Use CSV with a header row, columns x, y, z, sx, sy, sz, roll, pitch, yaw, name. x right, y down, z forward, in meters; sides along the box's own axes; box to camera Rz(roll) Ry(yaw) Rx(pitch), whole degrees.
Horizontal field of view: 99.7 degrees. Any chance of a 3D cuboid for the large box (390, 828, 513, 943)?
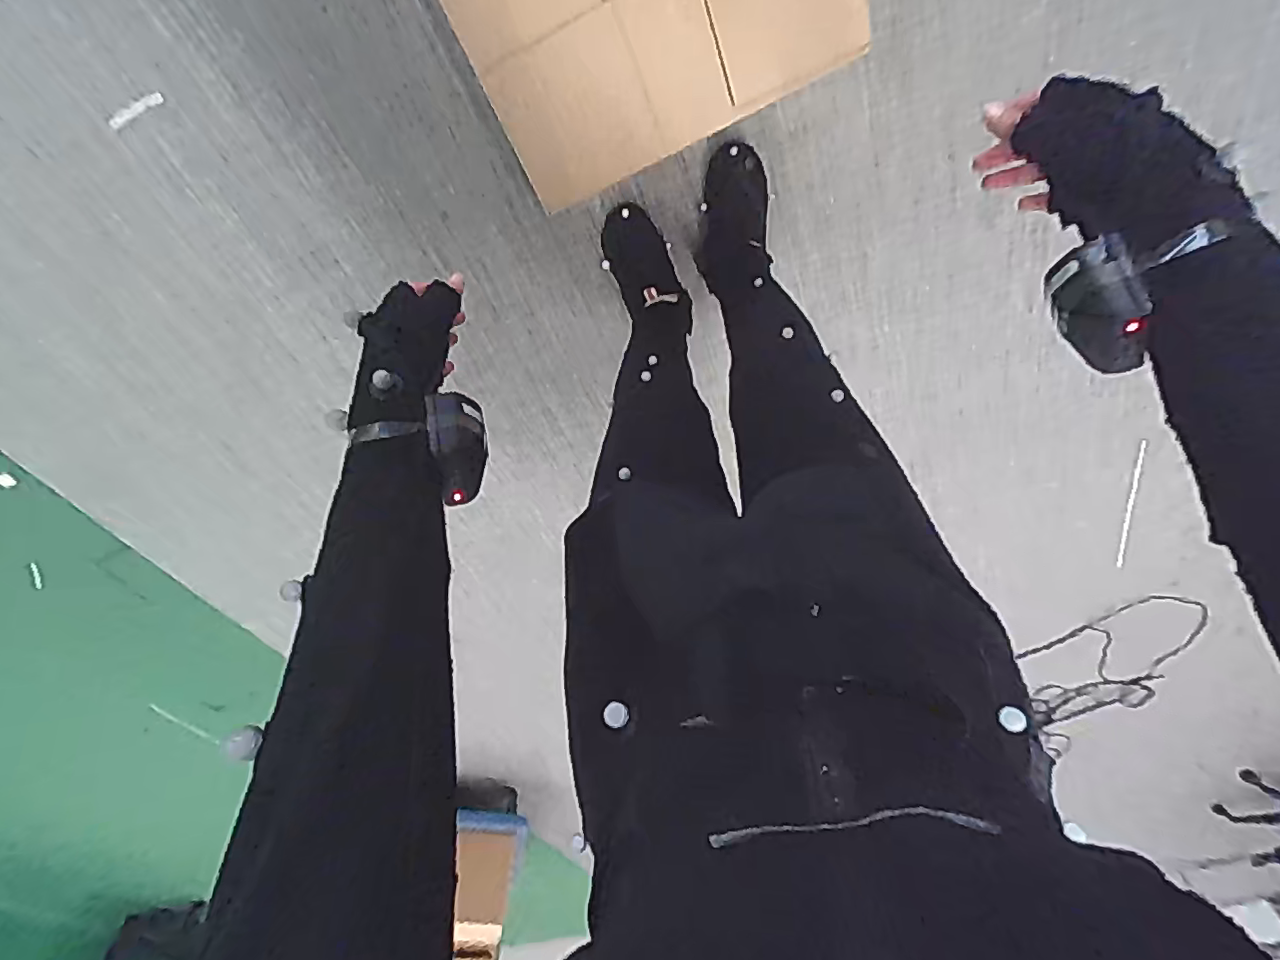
x,y,z,sx,sy,sz,roll,pitch,yaw,name
-0.753,1.654,2.202,0.408,0.320,0.320,11,129,-9,large box
